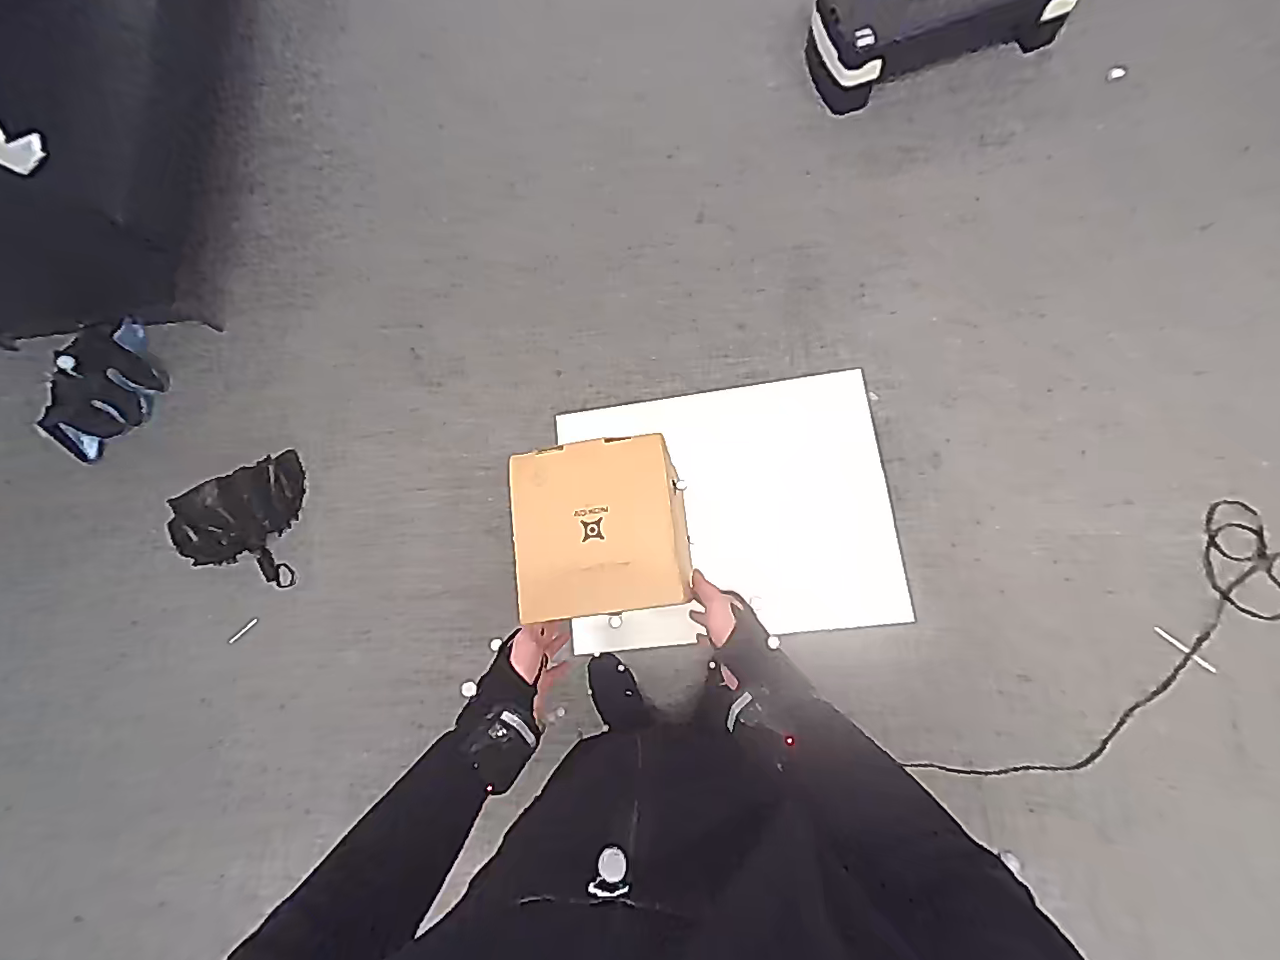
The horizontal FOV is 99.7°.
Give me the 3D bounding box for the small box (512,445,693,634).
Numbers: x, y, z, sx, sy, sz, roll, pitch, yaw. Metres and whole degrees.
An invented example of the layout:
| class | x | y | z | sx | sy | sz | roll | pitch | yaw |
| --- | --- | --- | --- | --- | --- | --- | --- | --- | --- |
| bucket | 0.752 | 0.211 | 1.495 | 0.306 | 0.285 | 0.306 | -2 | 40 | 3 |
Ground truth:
| class | x | y | z | sx | sy | sz | roll | pitch | yaw |
| --- | --- | --- | --- | --- | --- | --- | --- | --- | --- |
| small box | -0.035 | 0.077 | 0.619 | 0.168 | 0.176 | 0.179 | -9 | 75 | 8 |
